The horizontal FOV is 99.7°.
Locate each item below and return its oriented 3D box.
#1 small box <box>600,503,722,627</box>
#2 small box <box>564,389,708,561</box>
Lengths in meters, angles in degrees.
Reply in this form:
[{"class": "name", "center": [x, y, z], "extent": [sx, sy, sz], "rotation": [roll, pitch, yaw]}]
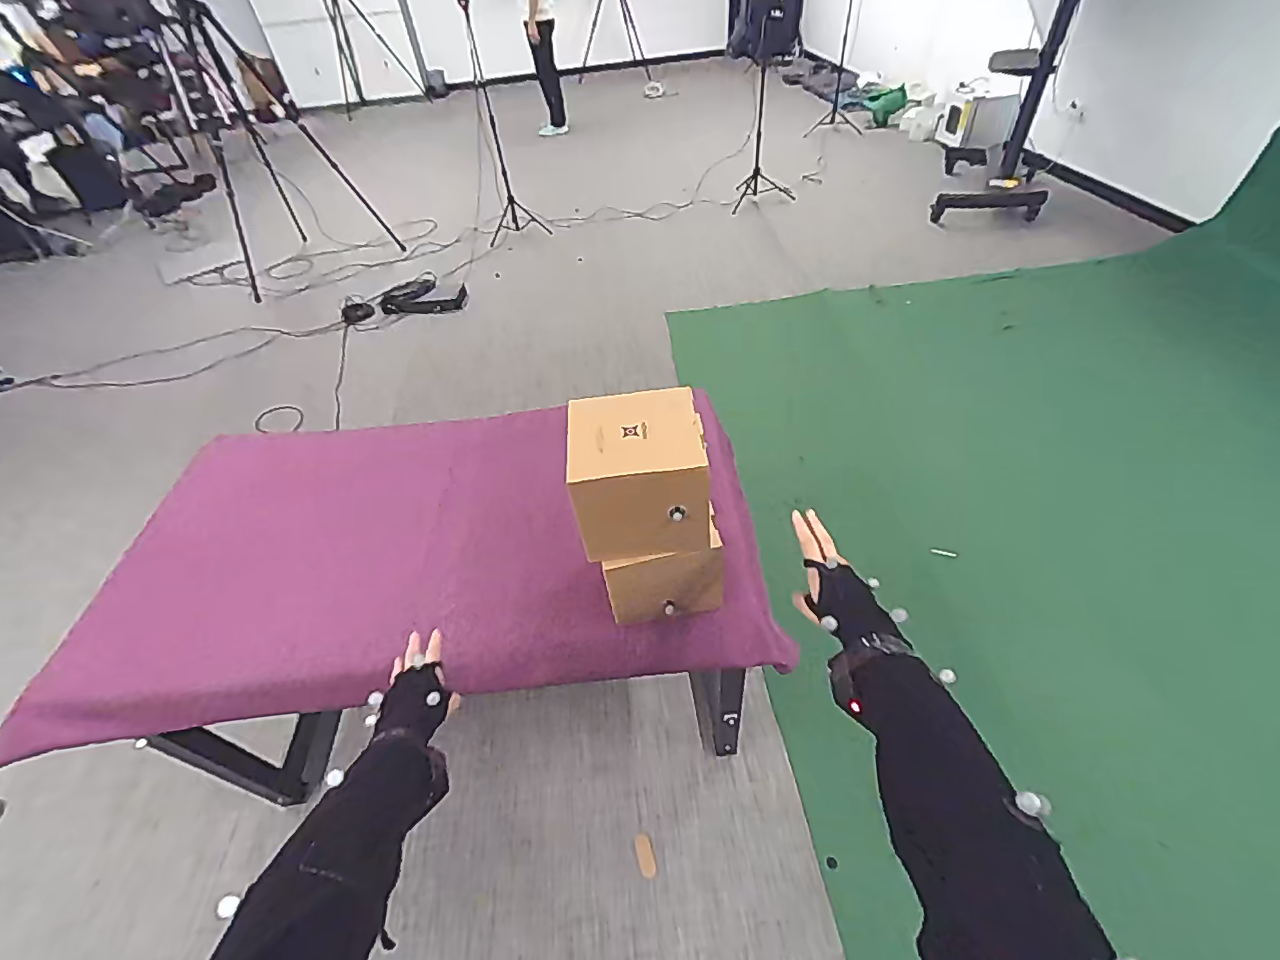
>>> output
[{"class": "small box", "center": [0.025, 0.114, 0.871], "extent": [0.179, 0.176, 0.168], "rotation": [-10, 45, -3]}, {"class": "small box", "center": [-0.002, -0.004, 0.760], "extent": [0.179, 0.176, 0.168], "rotation": [-7, 45, 2]}]
